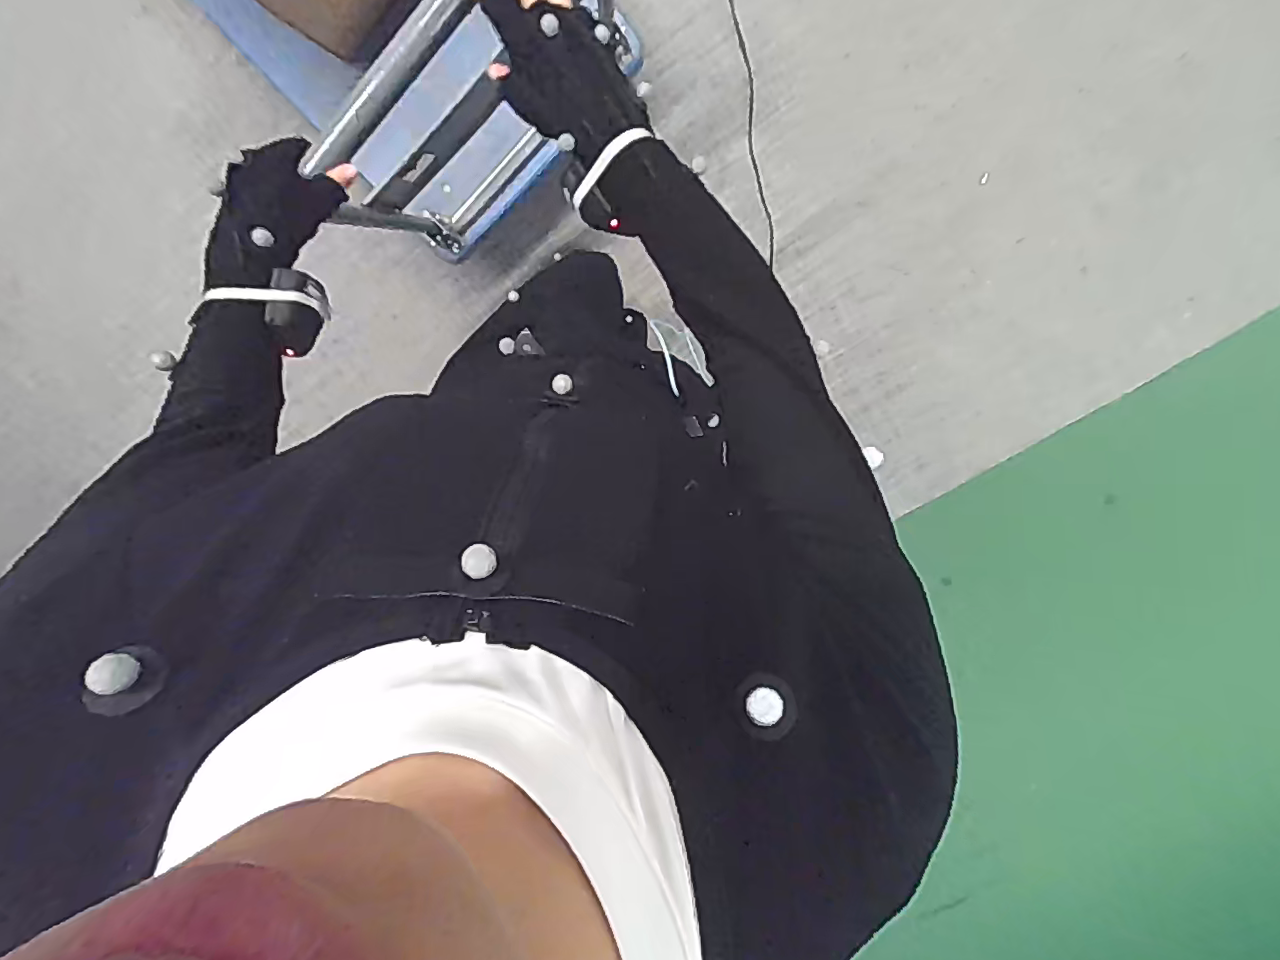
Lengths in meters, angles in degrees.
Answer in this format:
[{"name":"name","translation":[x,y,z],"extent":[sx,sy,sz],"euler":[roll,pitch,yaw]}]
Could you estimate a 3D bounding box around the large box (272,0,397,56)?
[{"name":"large box","translation":[-0.507,-0.977,0.804],"extent":[0.408,0.320,0.320],"euler":[-42,105,16]}]
